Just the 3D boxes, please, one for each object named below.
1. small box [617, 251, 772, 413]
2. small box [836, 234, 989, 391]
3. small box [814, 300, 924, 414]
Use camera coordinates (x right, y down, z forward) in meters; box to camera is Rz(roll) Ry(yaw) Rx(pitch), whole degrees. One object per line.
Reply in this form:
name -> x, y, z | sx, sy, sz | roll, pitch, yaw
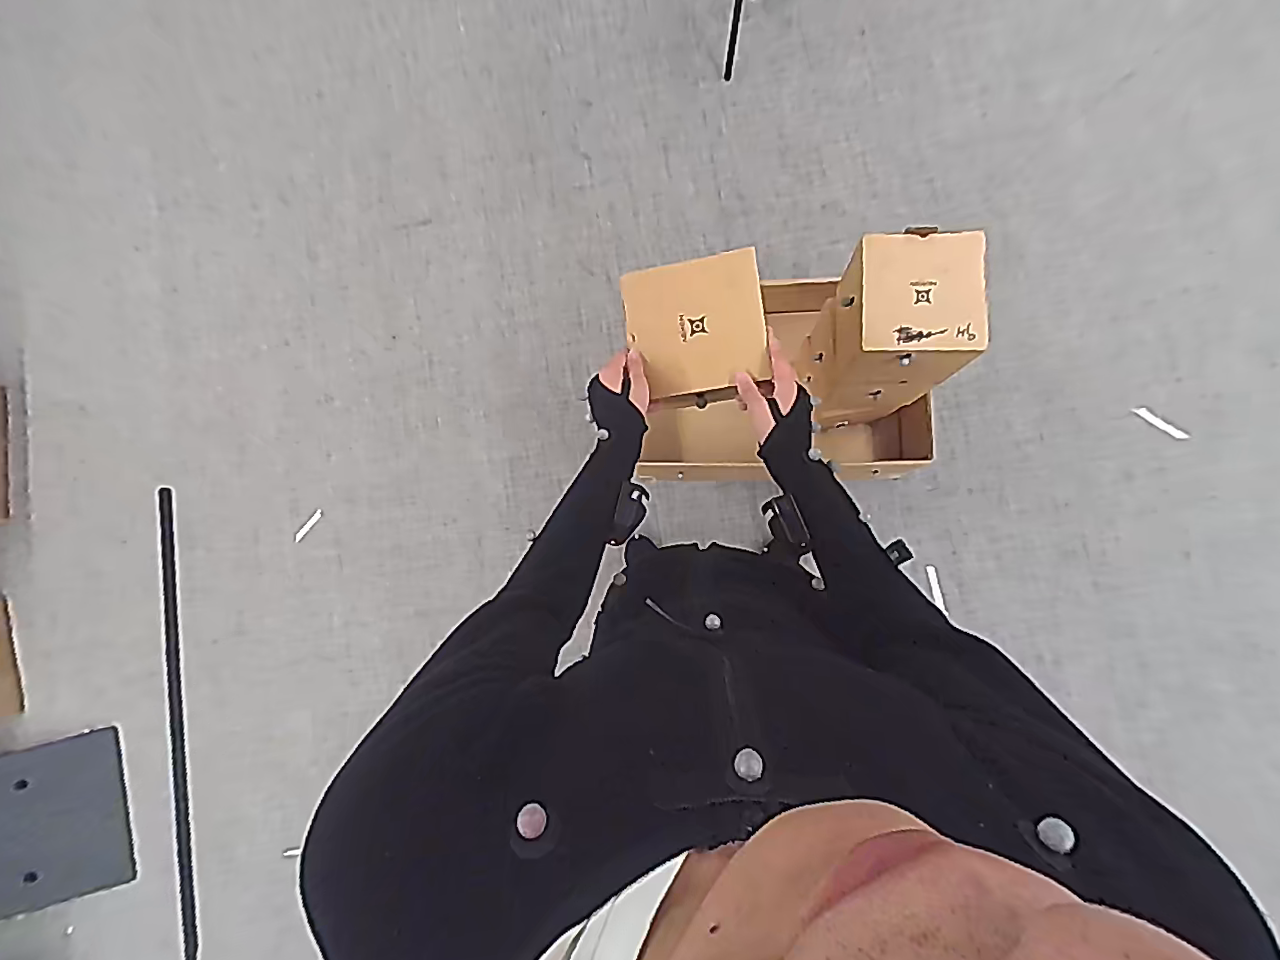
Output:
small box -> 0.082, -0.189, 0.746 | 0.179, 0.176, 0.168 | -8, 91, 14
small box -> 0.400, -0.246, 0.820 | 0.168, 0.176, 0.179 | 2, 83, 8
small box -> 0.419, -0.222, 0.982 | 0.179, 0.176, 0.168 | -4, 83, 7
